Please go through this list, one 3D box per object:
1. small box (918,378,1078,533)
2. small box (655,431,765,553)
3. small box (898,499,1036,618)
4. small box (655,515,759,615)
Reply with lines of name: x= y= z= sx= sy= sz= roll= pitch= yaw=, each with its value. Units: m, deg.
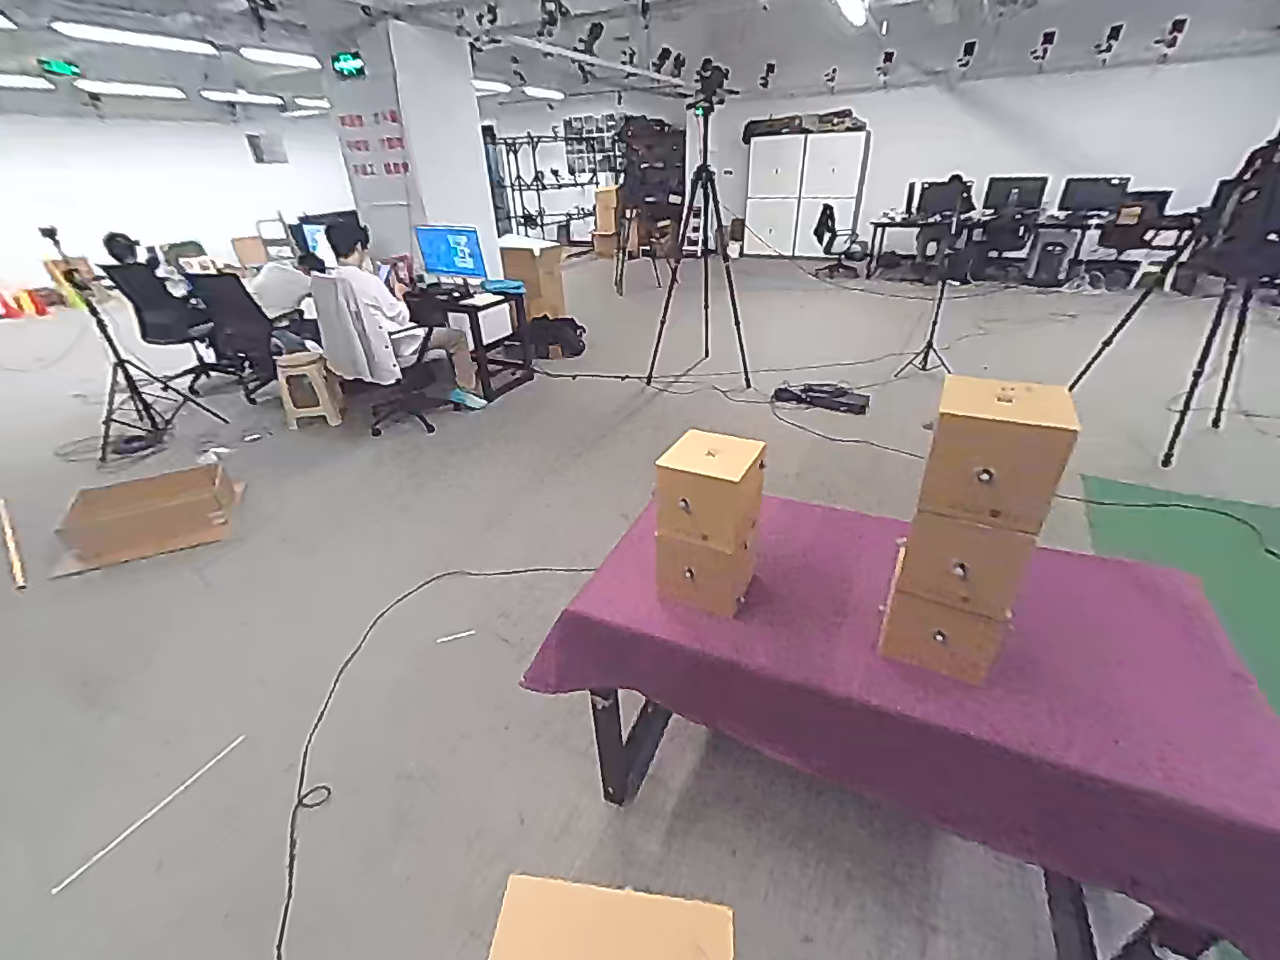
small box: x=0.539 y=-0.042 z=0.831 sx=0.168 sy=0.176 sz=0.179 roll=14 pitch=33 yaw=26
small box: x=0.143 y=0.022 z=1.080 sx=0.168 sy=0.176 sz=0.179 roll=13 pitch=32 yaw=24
small box: x=0.548 y=0.102 z=0.914 sx=0.168 sy=0.176 sz=0.179 roll=15 pitch=35 yaw=27
small box: x=0.144 y=0.163 z=1.160 sx=0.179 sy=0.176 sz=0.168 roll=12 pitch=33 yaw=23
